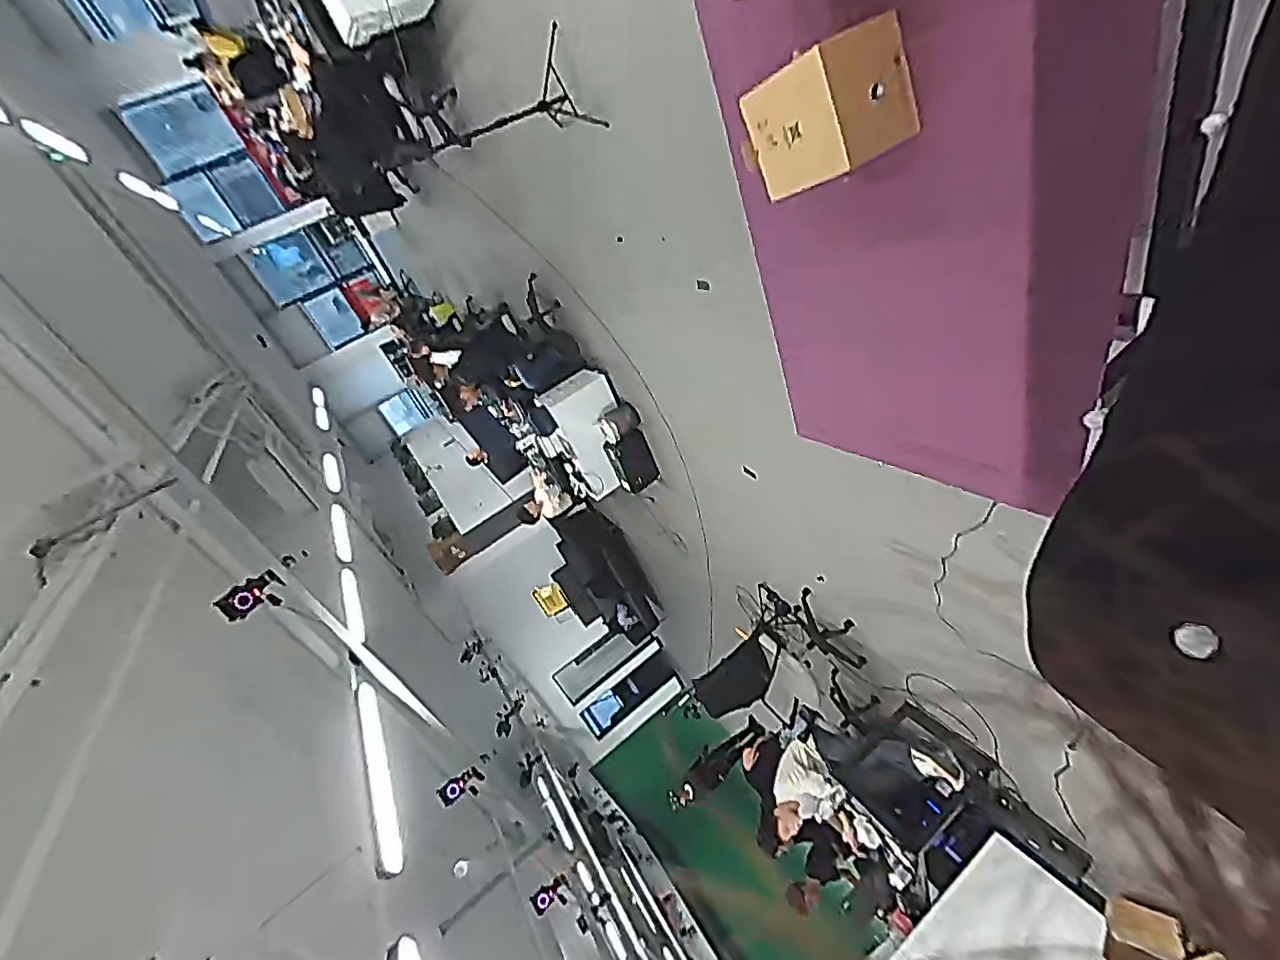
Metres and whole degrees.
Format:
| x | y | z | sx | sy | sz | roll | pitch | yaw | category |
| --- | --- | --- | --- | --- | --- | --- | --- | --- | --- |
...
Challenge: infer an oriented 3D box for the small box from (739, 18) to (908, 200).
| x | y | z | sx | sy | sz | roll | pitch | yaw | category |
| --- | --- | --- | --- | --- | --- | --- | --- | --- | --- |
| 0.297 | -0.582 | 0.861 | 0.179 | 0.176 | 0.168 | 23 | 144 | 61 | small box |
